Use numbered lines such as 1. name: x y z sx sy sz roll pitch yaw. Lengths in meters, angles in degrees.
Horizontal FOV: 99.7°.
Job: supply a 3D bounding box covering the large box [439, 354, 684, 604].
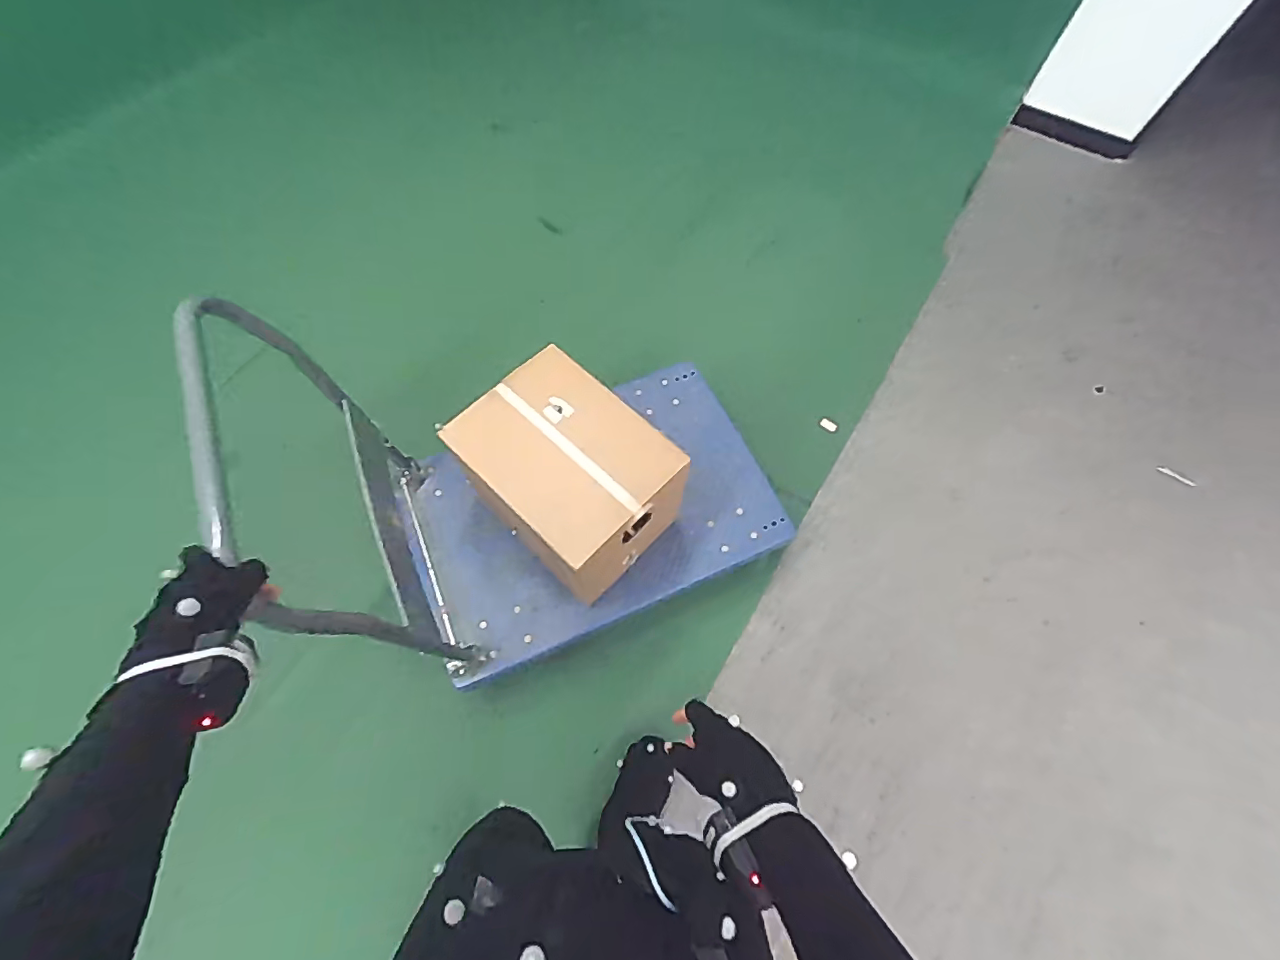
1. large box: -0.155 0.008 1.206 0.408 0.320 0.320 41 70 17
